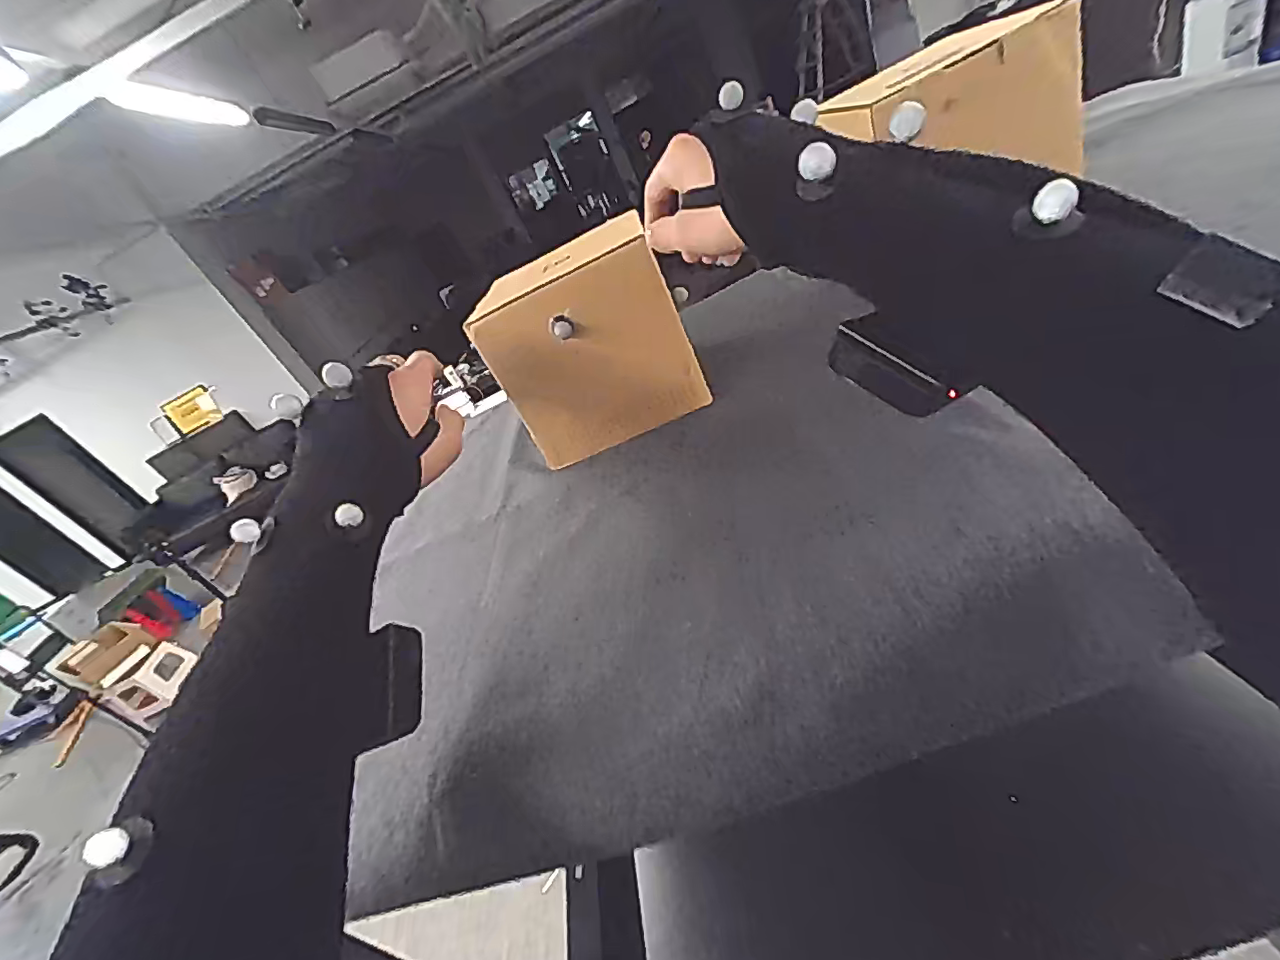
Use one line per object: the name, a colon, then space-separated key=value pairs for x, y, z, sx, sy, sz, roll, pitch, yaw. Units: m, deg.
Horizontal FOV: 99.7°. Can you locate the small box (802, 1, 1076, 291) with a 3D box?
small box: x=0.284 y=-0.307 z=0.528 sx=0.168 sy=0.176 sz=0.179 roll=-23 pitch=30 yaw=9

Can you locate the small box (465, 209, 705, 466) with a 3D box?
small box: x=-0.043 y=-0.145 z=0.554 sx=0.179 sy=0.176 sz=0.168 roll=-23 pitch=31 yaw=11
